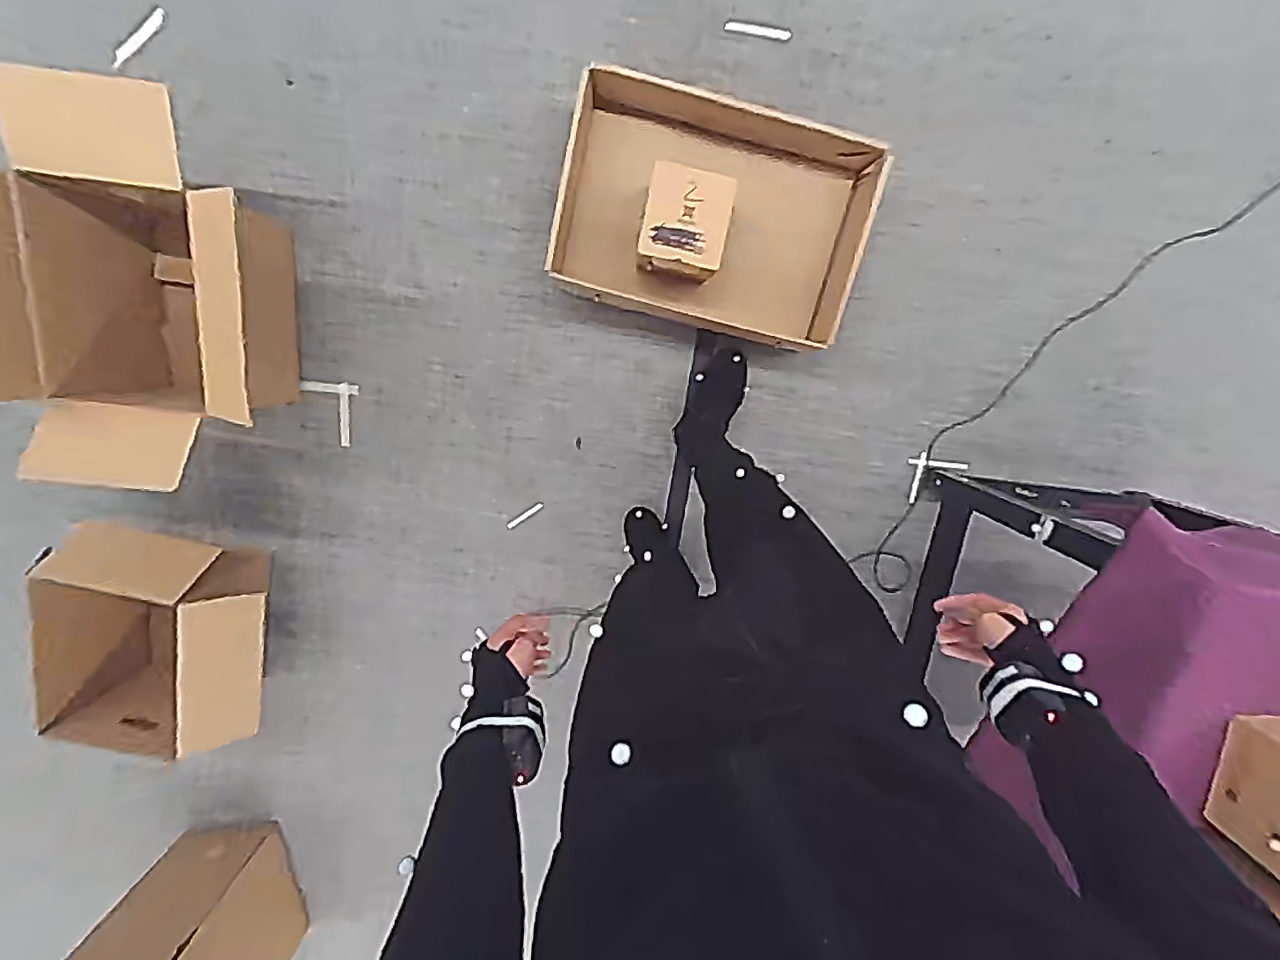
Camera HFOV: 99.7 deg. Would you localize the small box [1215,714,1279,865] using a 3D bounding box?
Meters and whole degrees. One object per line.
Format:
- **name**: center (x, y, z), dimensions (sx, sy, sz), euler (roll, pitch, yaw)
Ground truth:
- **small box**: center (0.876, 0.405, 0.654), dimensions (0.179, 0.176, 0.168), euler (0, 105, 0)
